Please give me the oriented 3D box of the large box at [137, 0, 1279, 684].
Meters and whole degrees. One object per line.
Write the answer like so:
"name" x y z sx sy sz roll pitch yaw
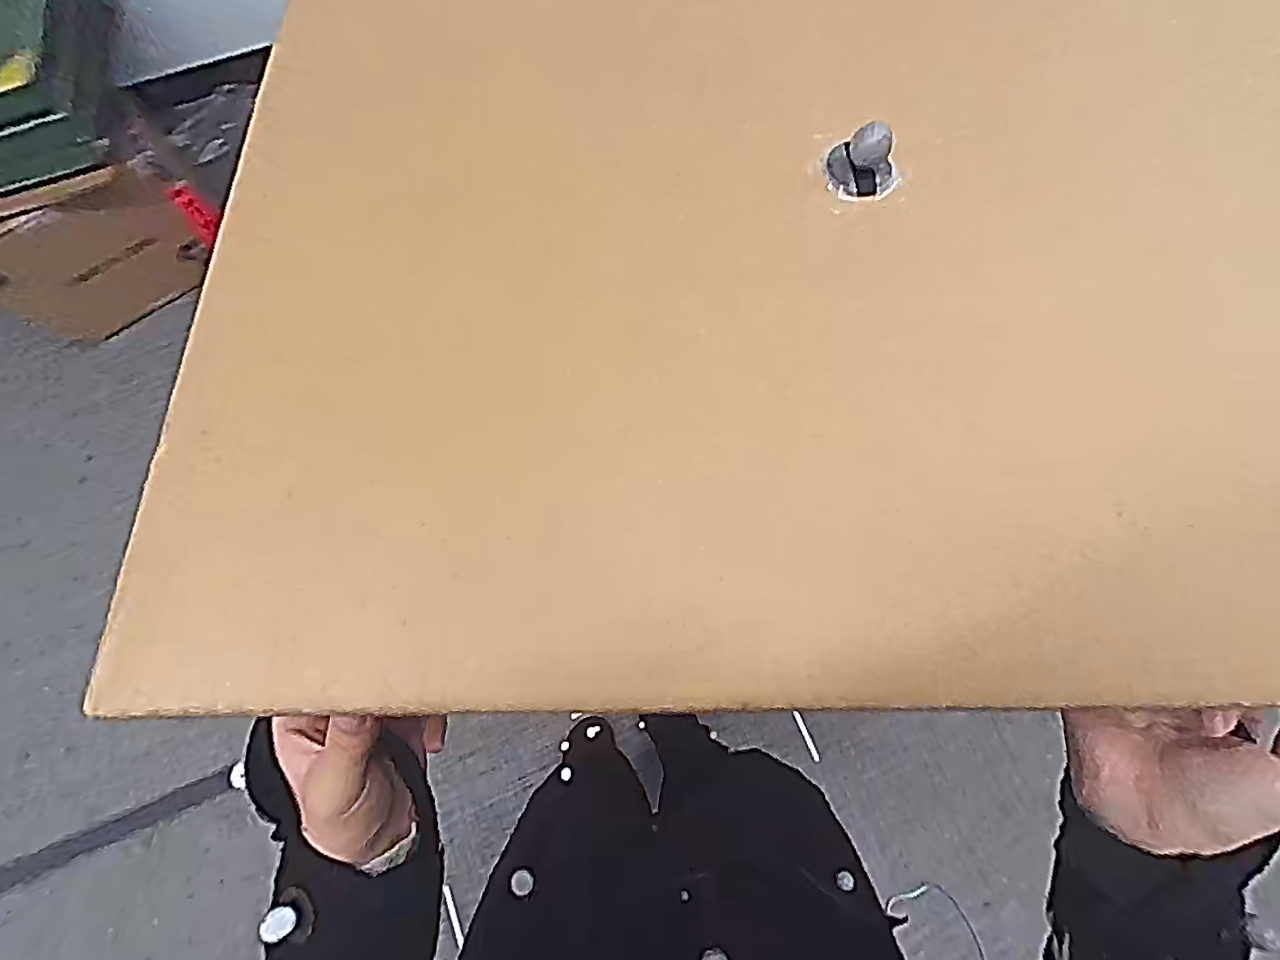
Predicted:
"large box" 0.067 -0.053 0.320 0.408 0.320 0.320 1 74 -1
